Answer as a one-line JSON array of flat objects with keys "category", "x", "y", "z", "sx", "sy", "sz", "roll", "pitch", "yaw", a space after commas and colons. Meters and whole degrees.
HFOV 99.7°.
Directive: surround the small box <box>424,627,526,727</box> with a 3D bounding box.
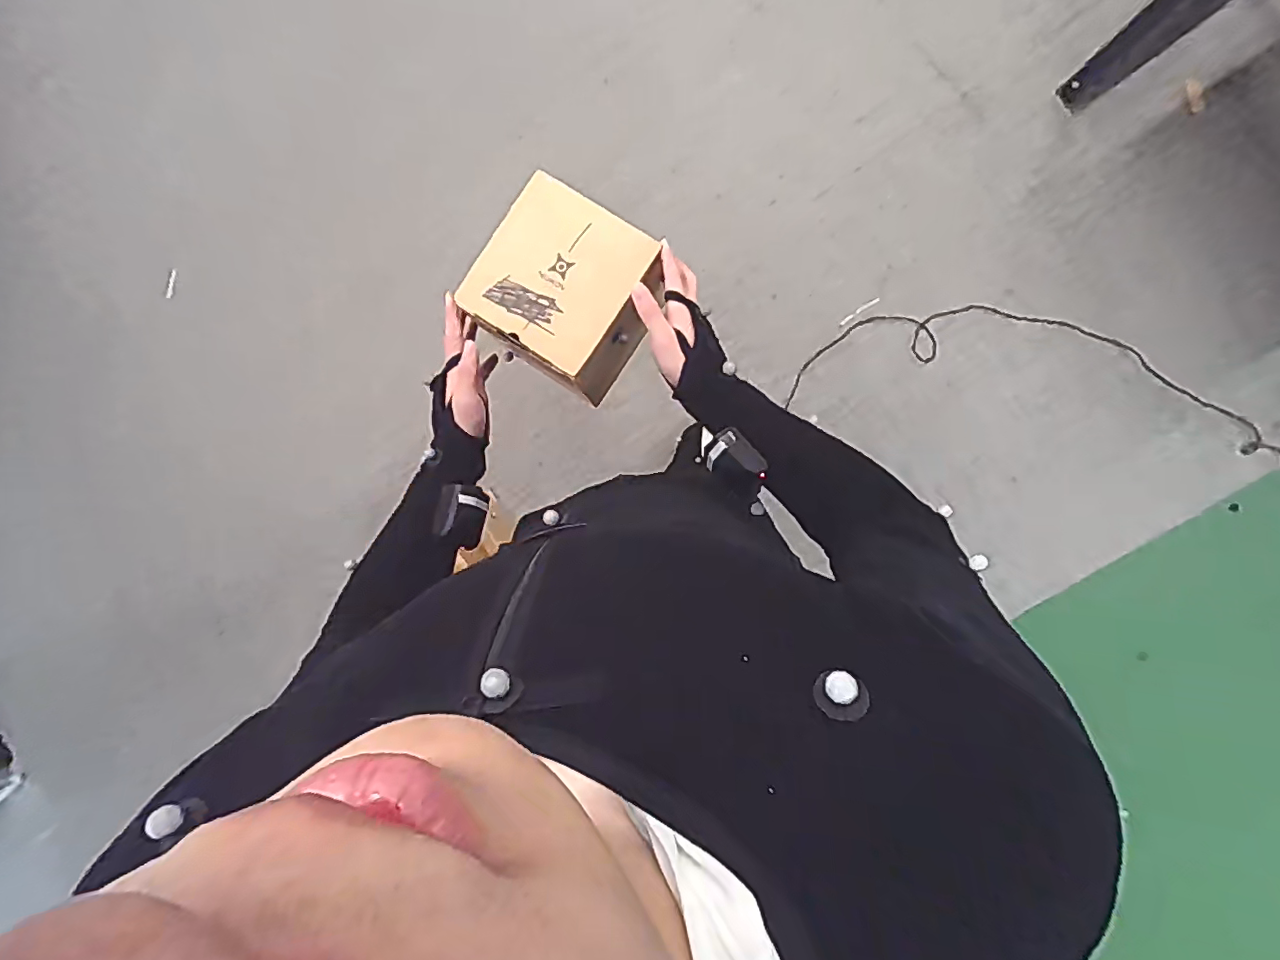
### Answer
[{"category": "small box", "x": -0.422, "y": 0.501, "z": 1.406, "sx": 0.168, "sy": 0.176, "sz": 0.179, "roll": -22, "pitch": 91, "yaw": 7}]
